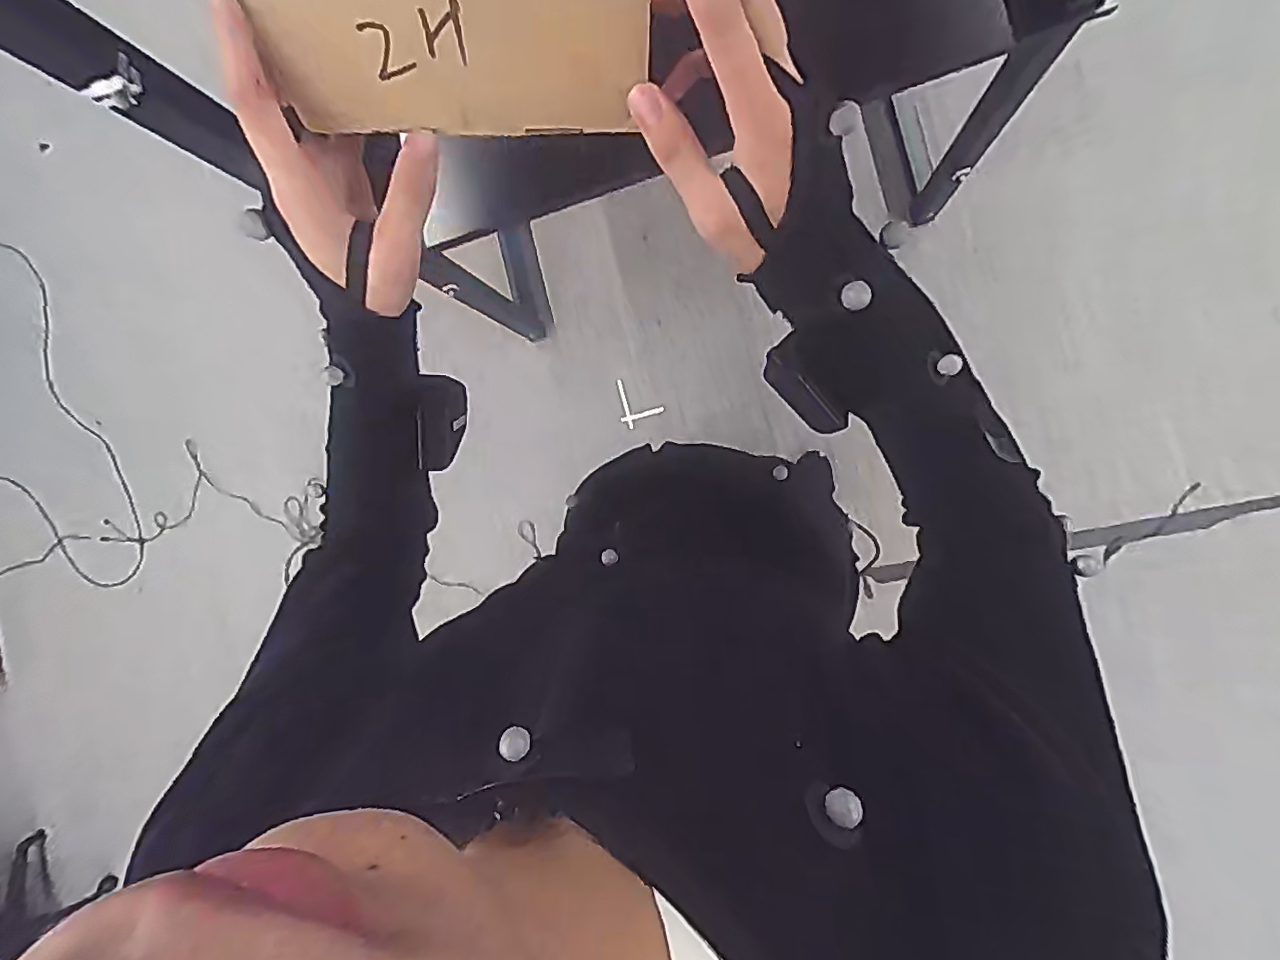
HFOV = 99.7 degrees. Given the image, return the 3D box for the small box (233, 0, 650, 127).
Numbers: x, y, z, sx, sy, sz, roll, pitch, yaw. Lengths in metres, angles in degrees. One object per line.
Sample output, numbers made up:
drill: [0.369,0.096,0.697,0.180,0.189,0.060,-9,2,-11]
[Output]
small box: [-0.079,-0.280,0.215,0.168,0.179,0.176,-1,66,-3]
